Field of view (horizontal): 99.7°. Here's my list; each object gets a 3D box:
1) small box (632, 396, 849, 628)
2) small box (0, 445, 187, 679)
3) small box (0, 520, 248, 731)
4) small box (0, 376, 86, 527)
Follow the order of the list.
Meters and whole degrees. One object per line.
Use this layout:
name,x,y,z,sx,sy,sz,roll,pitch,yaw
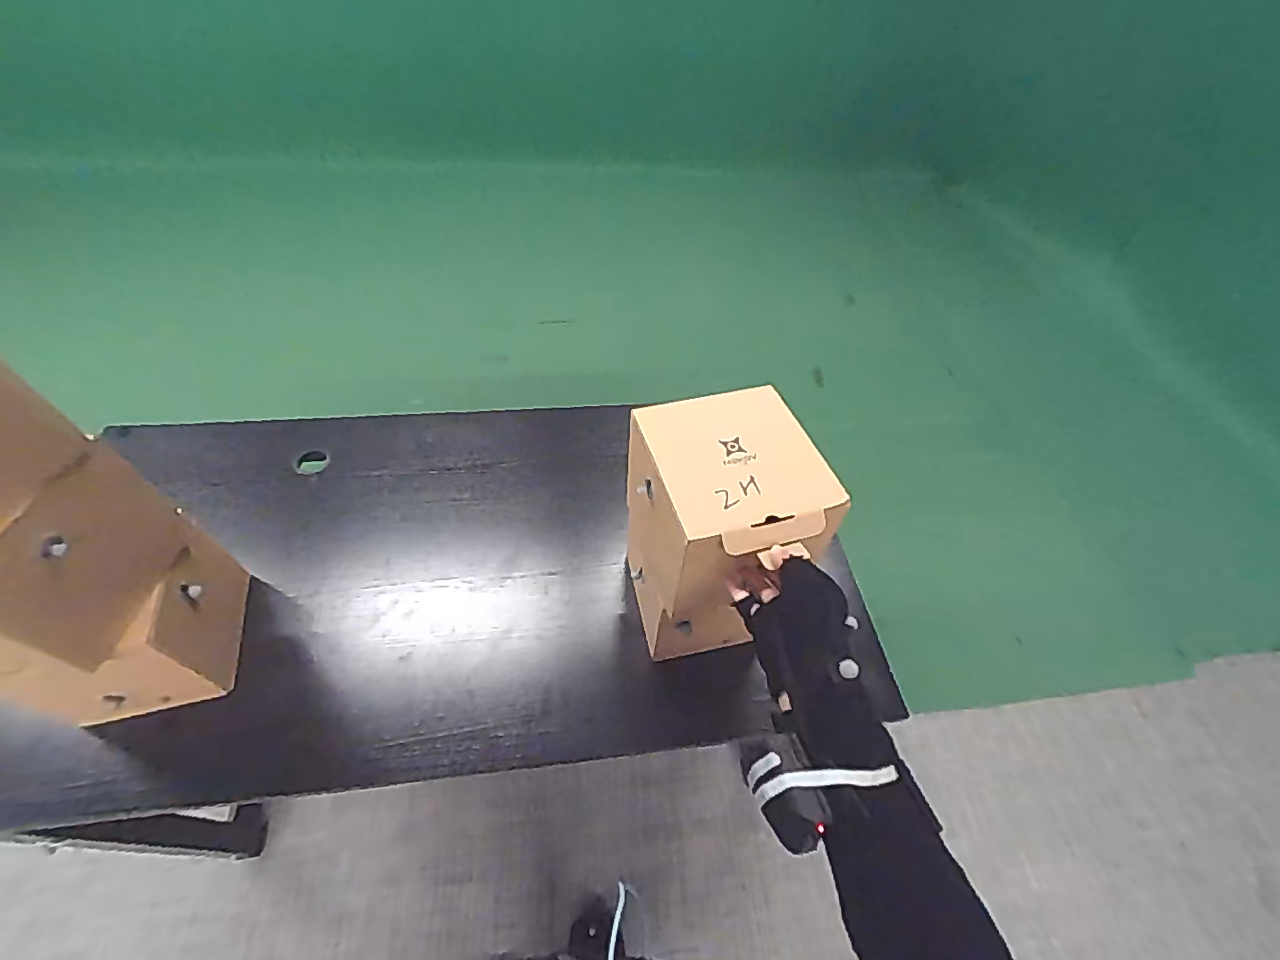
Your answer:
small box,0.091,0.035,0.600,0.168,0.176,0.179,-12,52,-13
small box,-0.602,0.076,0.521,0.168,0.176,0.179,7,52,0
small box,-0.609,0.176,0.651,0.168,0.176,0.179,-10,55,-13
small box,-0.594,-0.030,0.395,0.168,0.176,0.179,16,54,6
